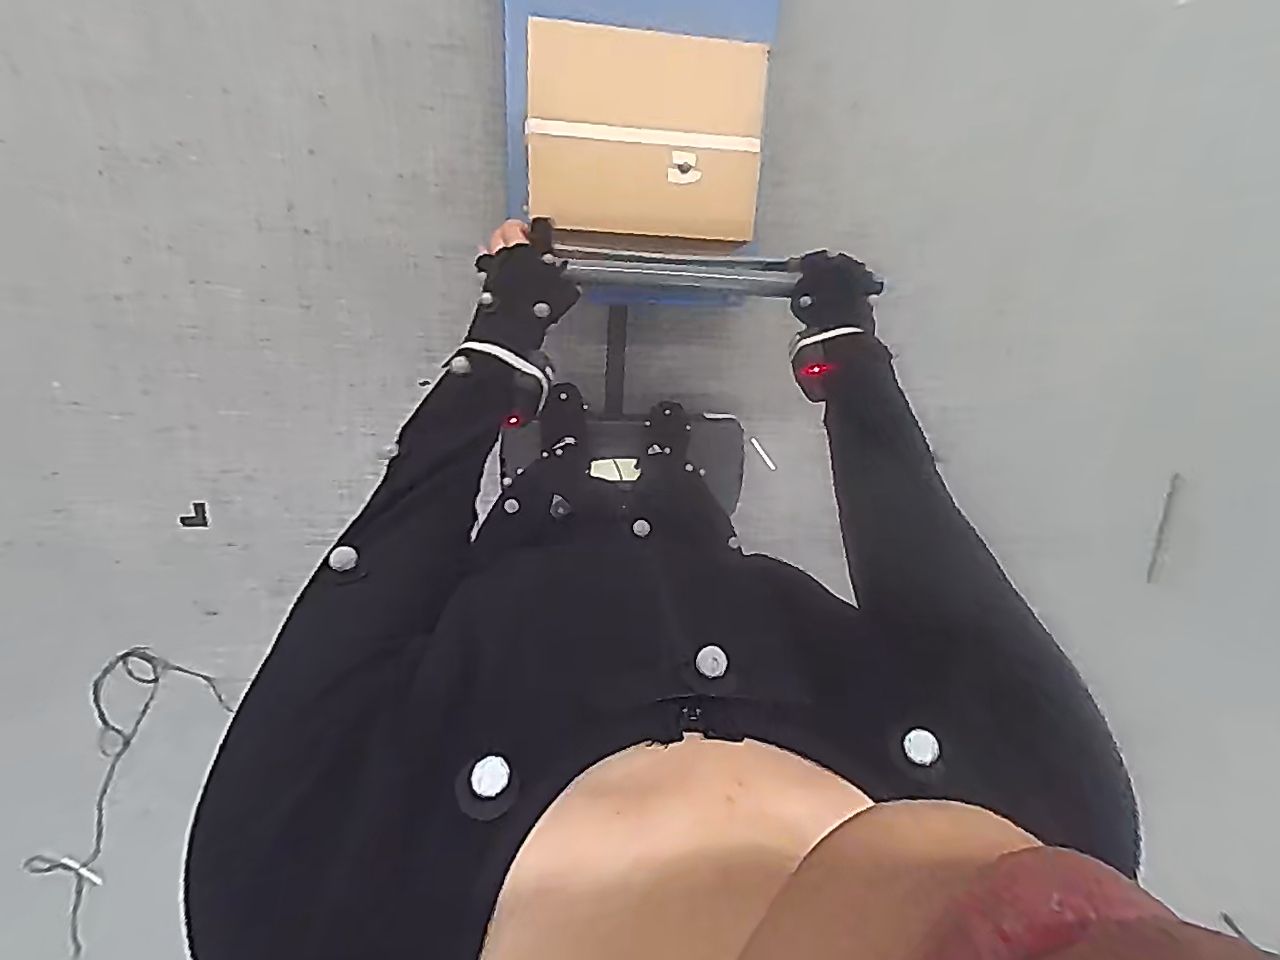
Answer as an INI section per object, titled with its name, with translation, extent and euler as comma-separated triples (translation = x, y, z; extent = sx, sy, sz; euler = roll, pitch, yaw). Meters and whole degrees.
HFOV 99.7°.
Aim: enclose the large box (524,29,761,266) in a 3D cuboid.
[large box]
translation = -0.013, -0.614, 1.072
extent = 0.408, 0.320, 0.320
euler = 0, 105, -8
